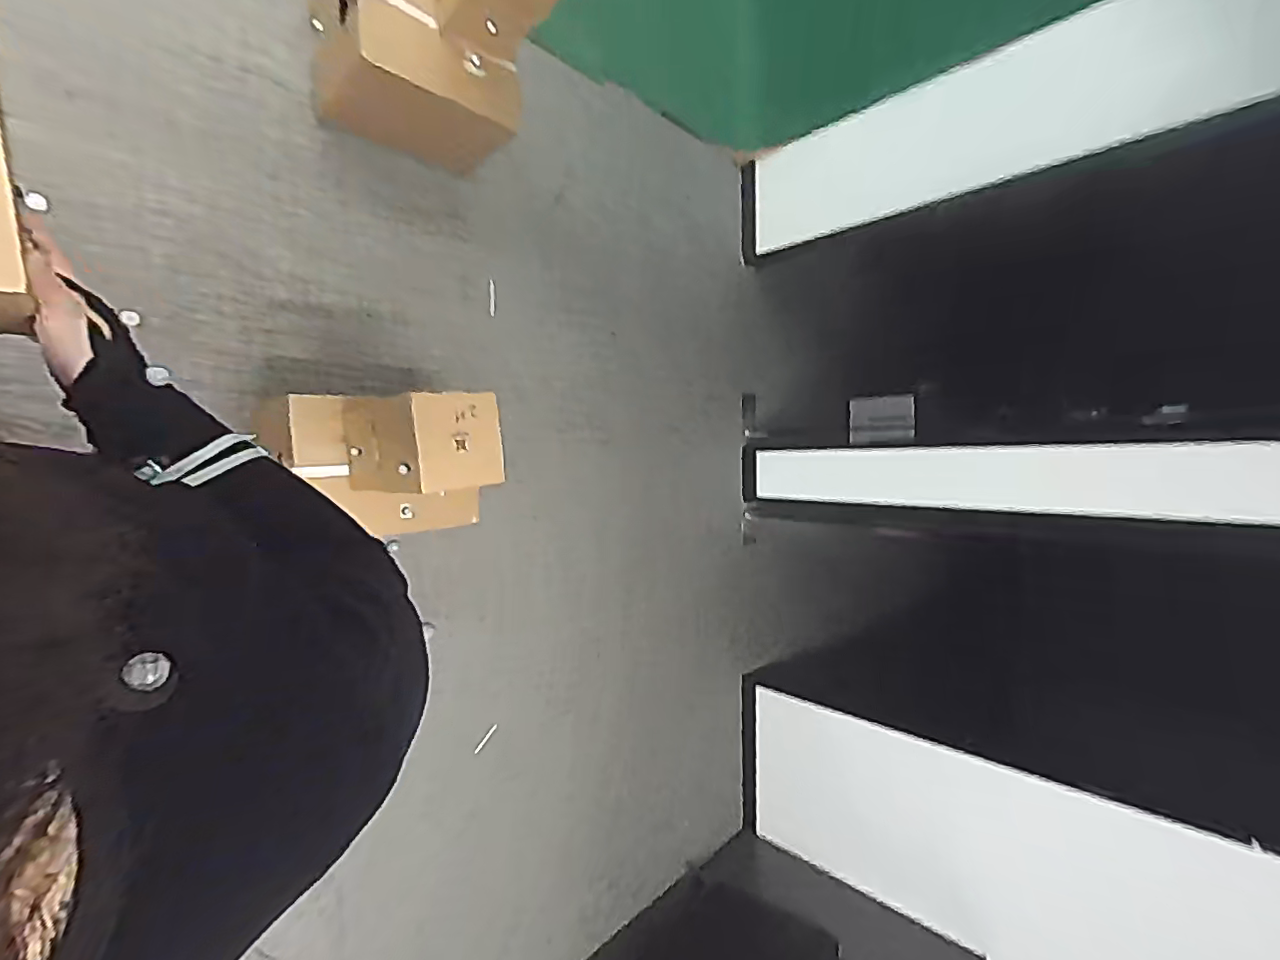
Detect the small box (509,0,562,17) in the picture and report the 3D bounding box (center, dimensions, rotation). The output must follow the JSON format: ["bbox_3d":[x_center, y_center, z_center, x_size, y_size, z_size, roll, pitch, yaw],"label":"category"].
[{"bbox_3d":[-0.234,-1.140,1.140,0.179,0.176,0.168,-5,92,-45],"label":"small box"}]

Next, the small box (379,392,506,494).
[{"bbox_3d":[-0.377,-0.072,1.030,0.168,0.176,0.179,-10,97,-46],"label":"small box"}]

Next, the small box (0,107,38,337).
[{"bbox_3d":[-0.496,-0.191,0.321,0.168,0.176,0.179,-10,100,-45],"label":"small box"}]

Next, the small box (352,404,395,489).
[{"bbox_3d":[-0.494,-0.071,1.148,0.179,0.176,0.168,-10,97,-45],"label":"small box"}]

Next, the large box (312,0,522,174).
[{"bbox_3d":[-0.564,-1.059,1.386,0.408,0.320,0.320,-5,94,-47],"label":"large box"}]
